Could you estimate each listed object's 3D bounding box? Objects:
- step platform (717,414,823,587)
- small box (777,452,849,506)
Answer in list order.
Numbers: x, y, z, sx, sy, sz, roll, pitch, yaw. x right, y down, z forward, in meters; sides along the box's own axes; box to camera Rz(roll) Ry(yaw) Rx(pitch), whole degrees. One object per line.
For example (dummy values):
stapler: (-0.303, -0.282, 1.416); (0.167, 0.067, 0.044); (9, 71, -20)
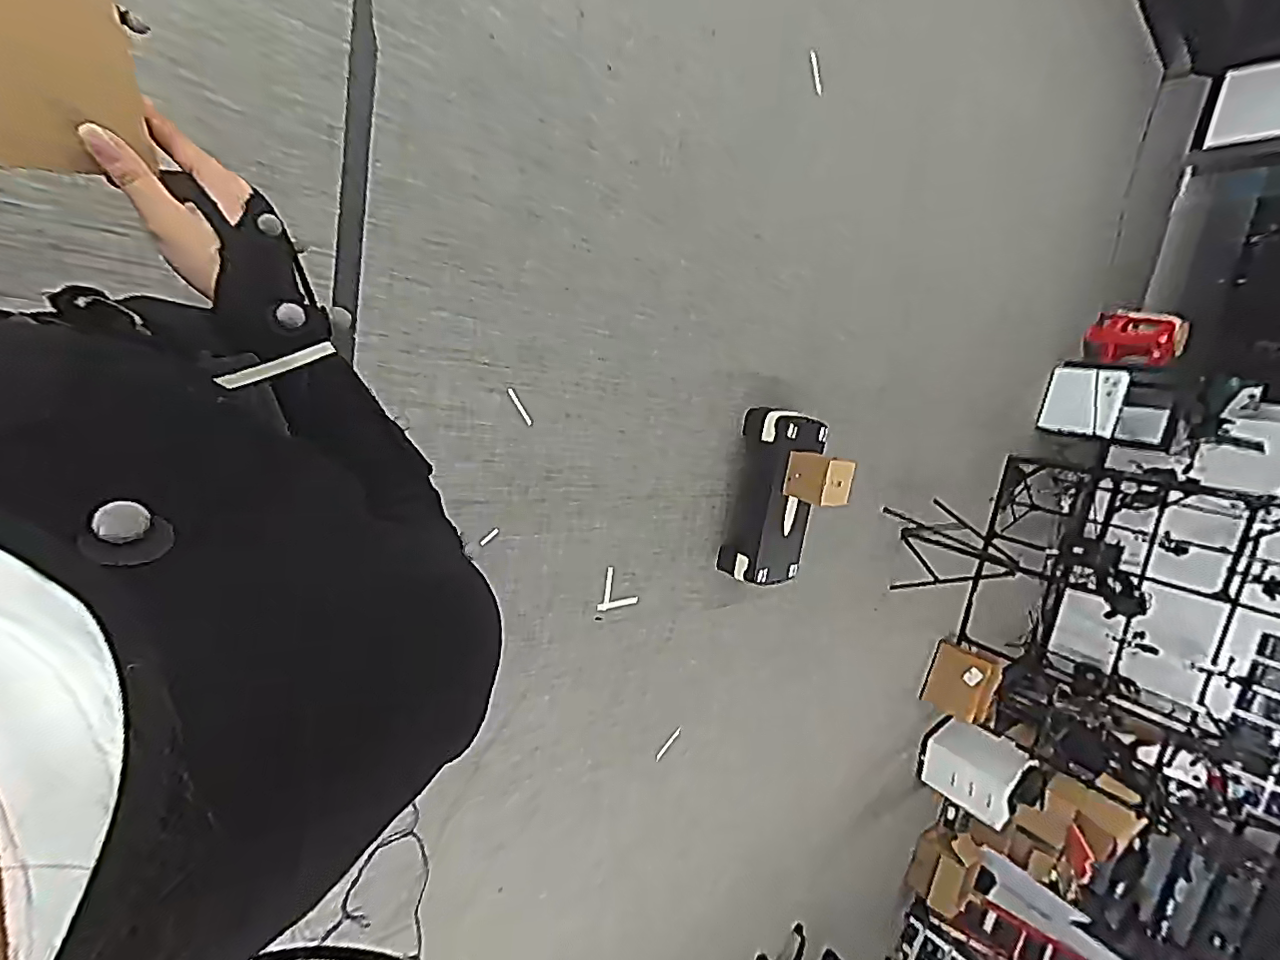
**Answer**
step platform: (0.525, 0.086, 2.166); (0.286, 0.204, 0.684); (1, 102, -40)
small box: (0.638, -0.005, 2.000); (0.179, 0.176, 0.168); (2, 102, -39)
